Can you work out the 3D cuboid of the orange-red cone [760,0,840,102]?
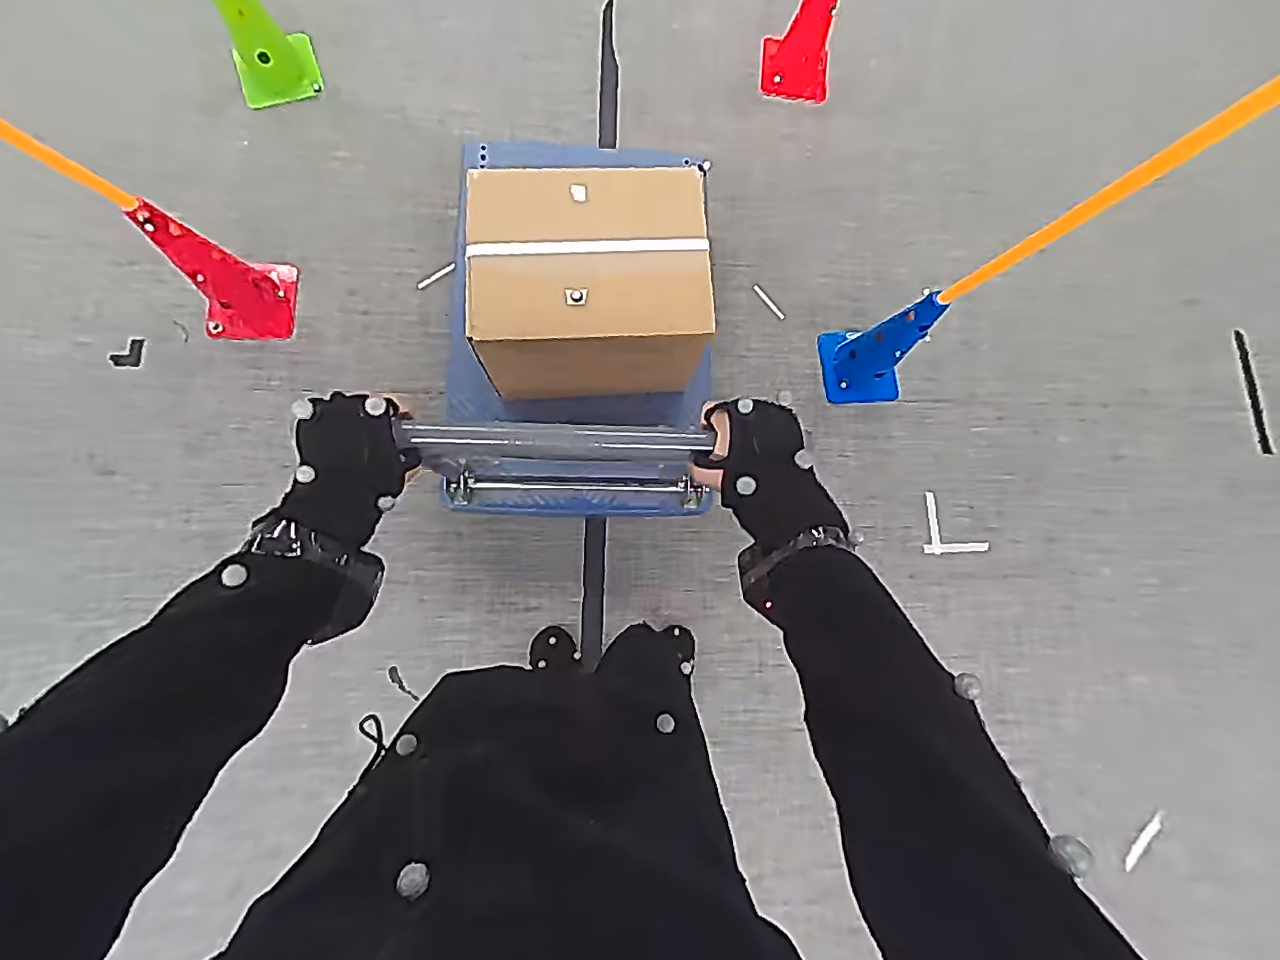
[{"bbox_3d":[0.470,-1.231,1.410,0.199,0.360,0.198,8,80,-4],"label":"orange-red cone"}]

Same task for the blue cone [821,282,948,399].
[{"bbox_3d":[0.595,-0.338,1.274,0.193,0.380,0.192,-3,79,-6],"label":"blue cone"}]
